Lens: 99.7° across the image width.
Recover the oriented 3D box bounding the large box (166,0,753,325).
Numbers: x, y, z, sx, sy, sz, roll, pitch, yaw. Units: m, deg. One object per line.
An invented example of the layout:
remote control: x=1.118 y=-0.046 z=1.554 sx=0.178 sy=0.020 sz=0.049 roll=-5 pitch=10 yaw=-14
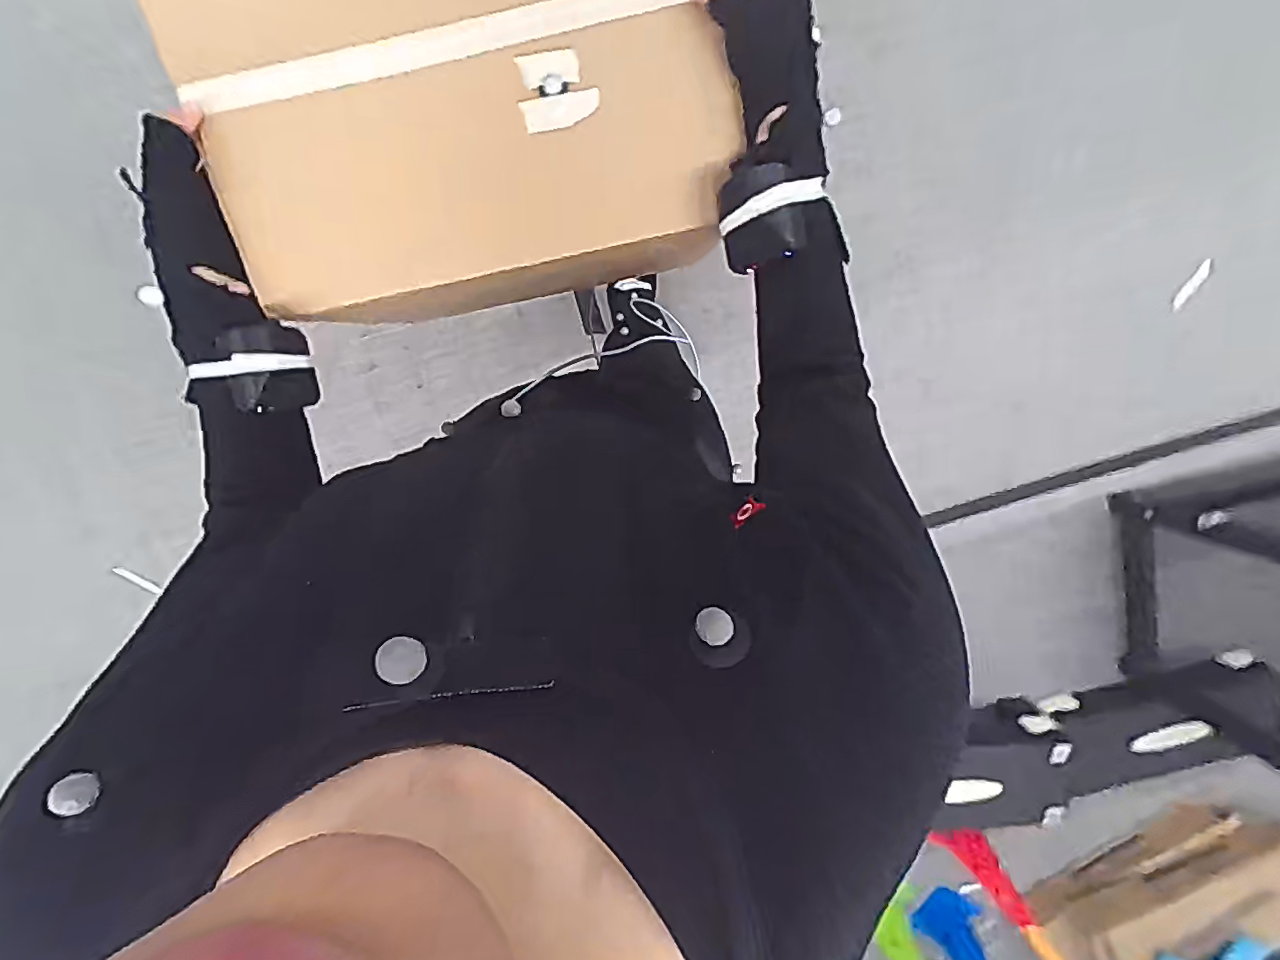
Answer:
large box: x=-0.140 y=-0.359 z=0.549 sx=0.408 sy=0.320 sz=0.320 roll=-13 pitch=106 yaw=0
